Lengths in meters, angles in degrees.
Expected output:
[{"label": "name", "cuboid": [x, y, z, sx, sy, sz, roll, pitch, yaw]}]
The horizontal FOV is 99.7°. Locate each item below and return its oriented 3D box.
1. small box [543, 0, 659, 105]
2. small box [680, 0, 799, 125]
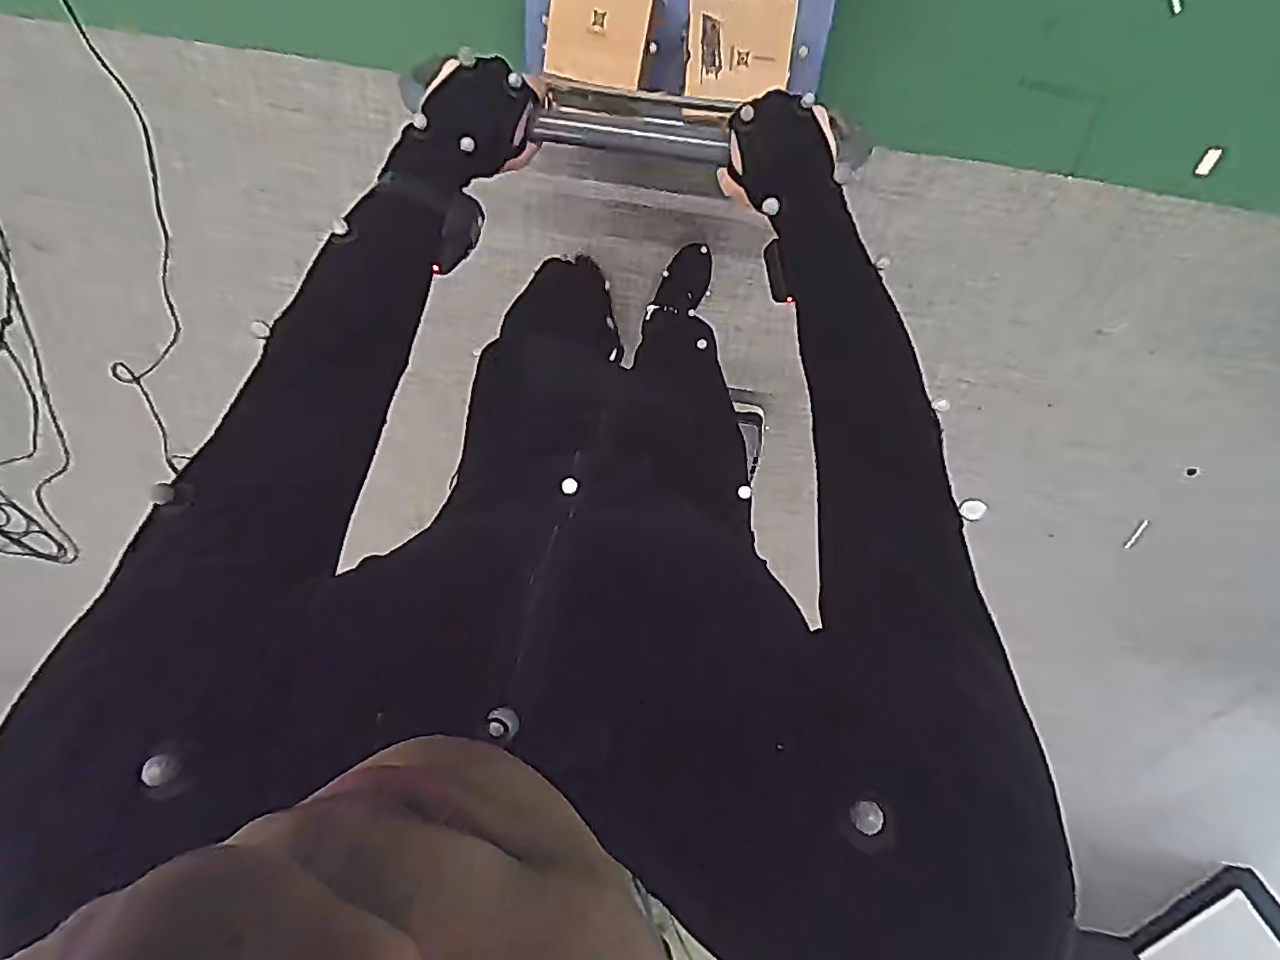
[{"label": "small box", "cuboid": [-0.064, -0.793, 0.957, 0.168, 0.176, 0.179, 13, 121, -3]}, {"label": "small box", "cuboid": [0.167, -0.739, 0.964, 0.179, 0.176, 0.168, 5, 121, 2]}]
